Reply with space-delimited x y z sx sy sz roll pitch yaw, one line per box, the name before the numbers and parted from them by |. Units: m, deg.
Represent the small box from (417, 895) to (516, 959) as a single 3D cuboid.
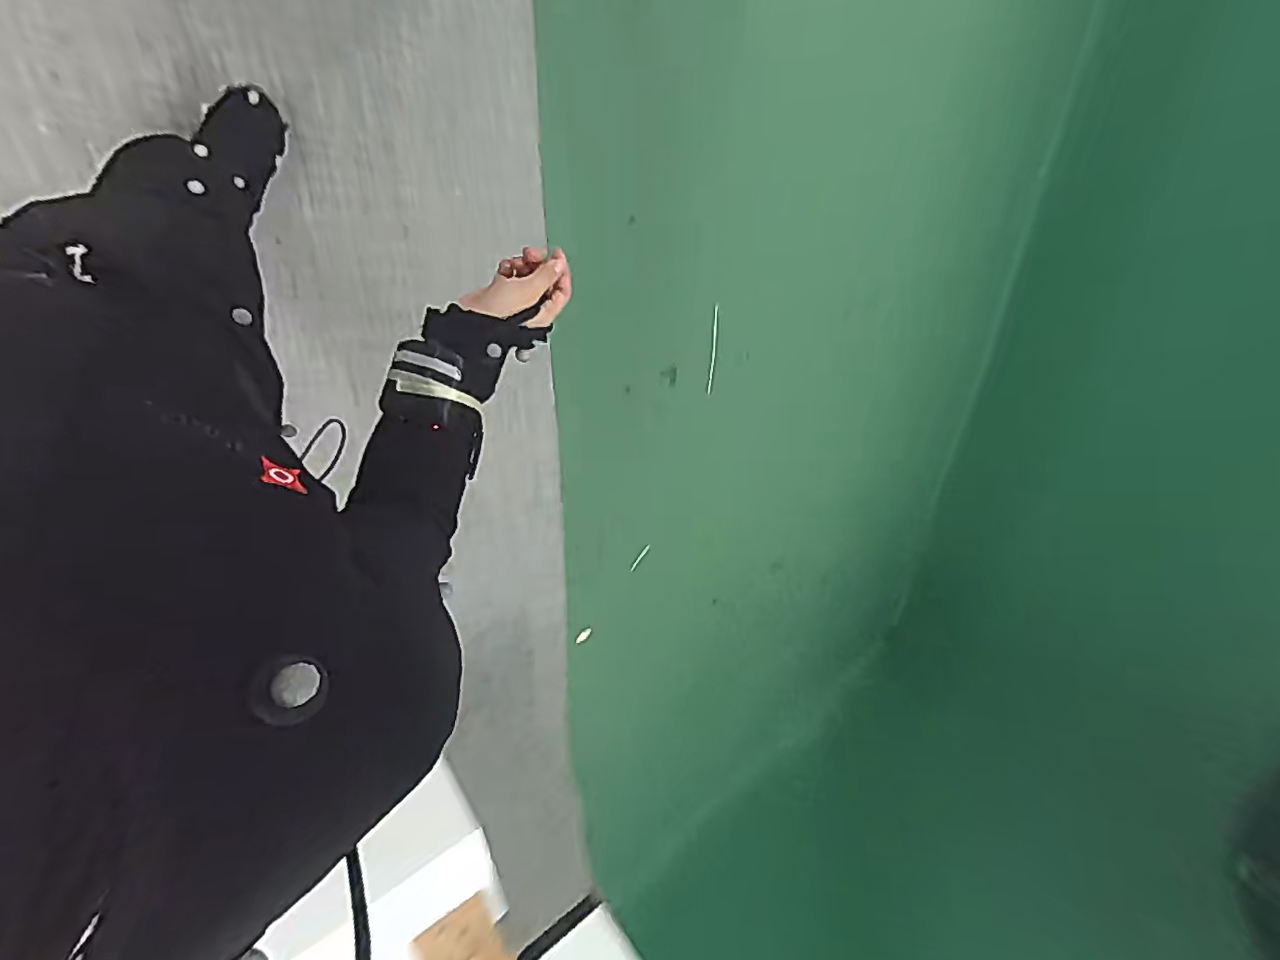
small box | -0.380 1.091 1.210 0.168 0.176 0.179 -20 123 -32
